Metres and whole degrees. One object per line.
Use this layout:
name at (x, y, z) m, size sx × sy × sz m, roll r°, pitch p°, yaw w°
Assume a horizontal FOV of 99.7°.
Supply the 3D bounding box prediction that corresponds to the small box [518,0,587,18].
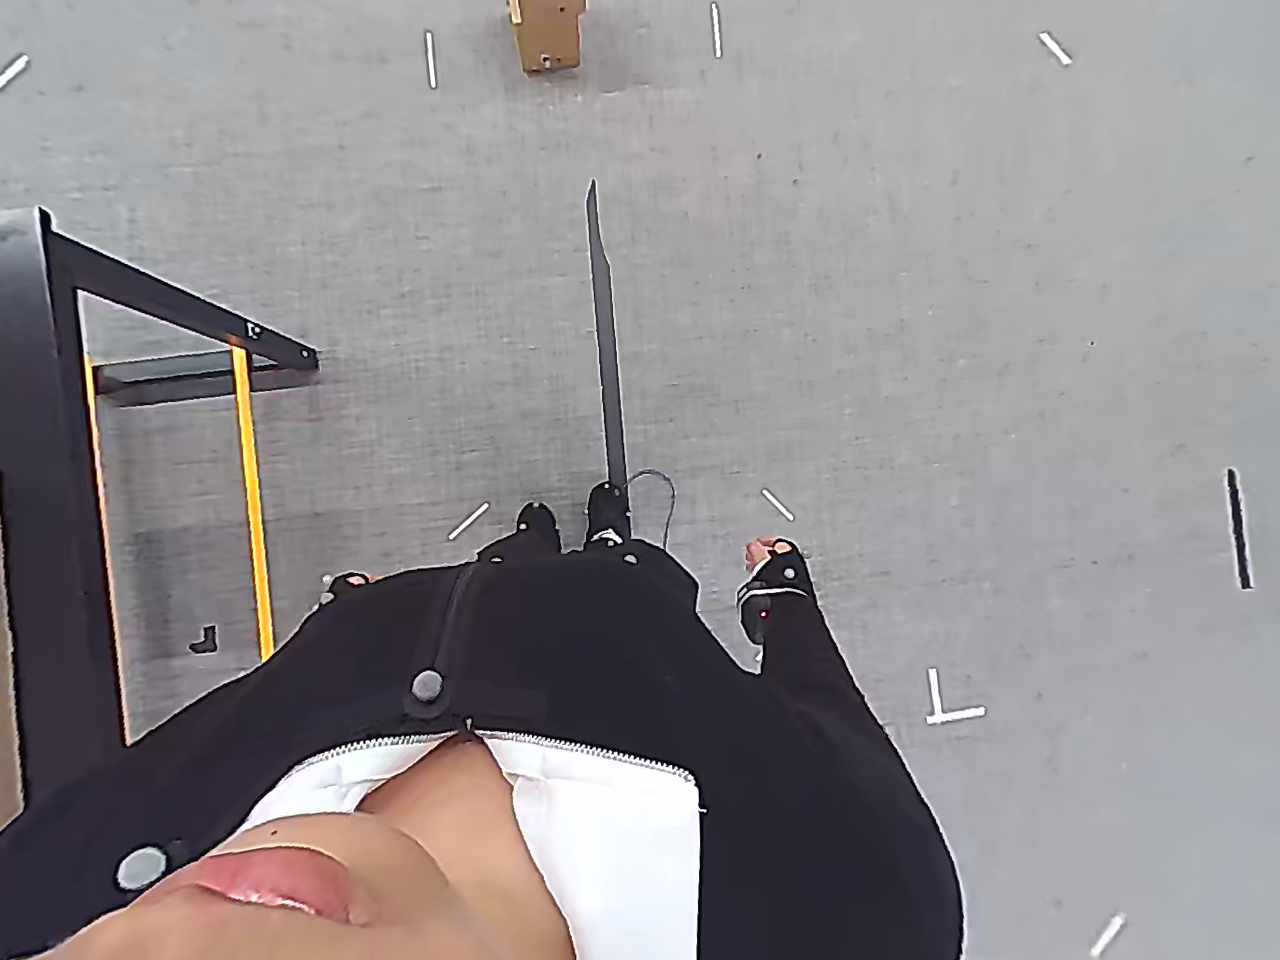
small box at (-0.222, -1.225, 1.258) m, size 0.168 × 0.176 × 0.179 m, roll -13°, pitch 91°, yaw -3°

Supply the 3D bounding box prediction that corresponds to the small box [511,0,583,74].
small box at (-0.249, -1.223, 1.421) m, size 0.168 × 0.176 × 0.179 m, roll -12°, pitch 91°, yaw -3°
